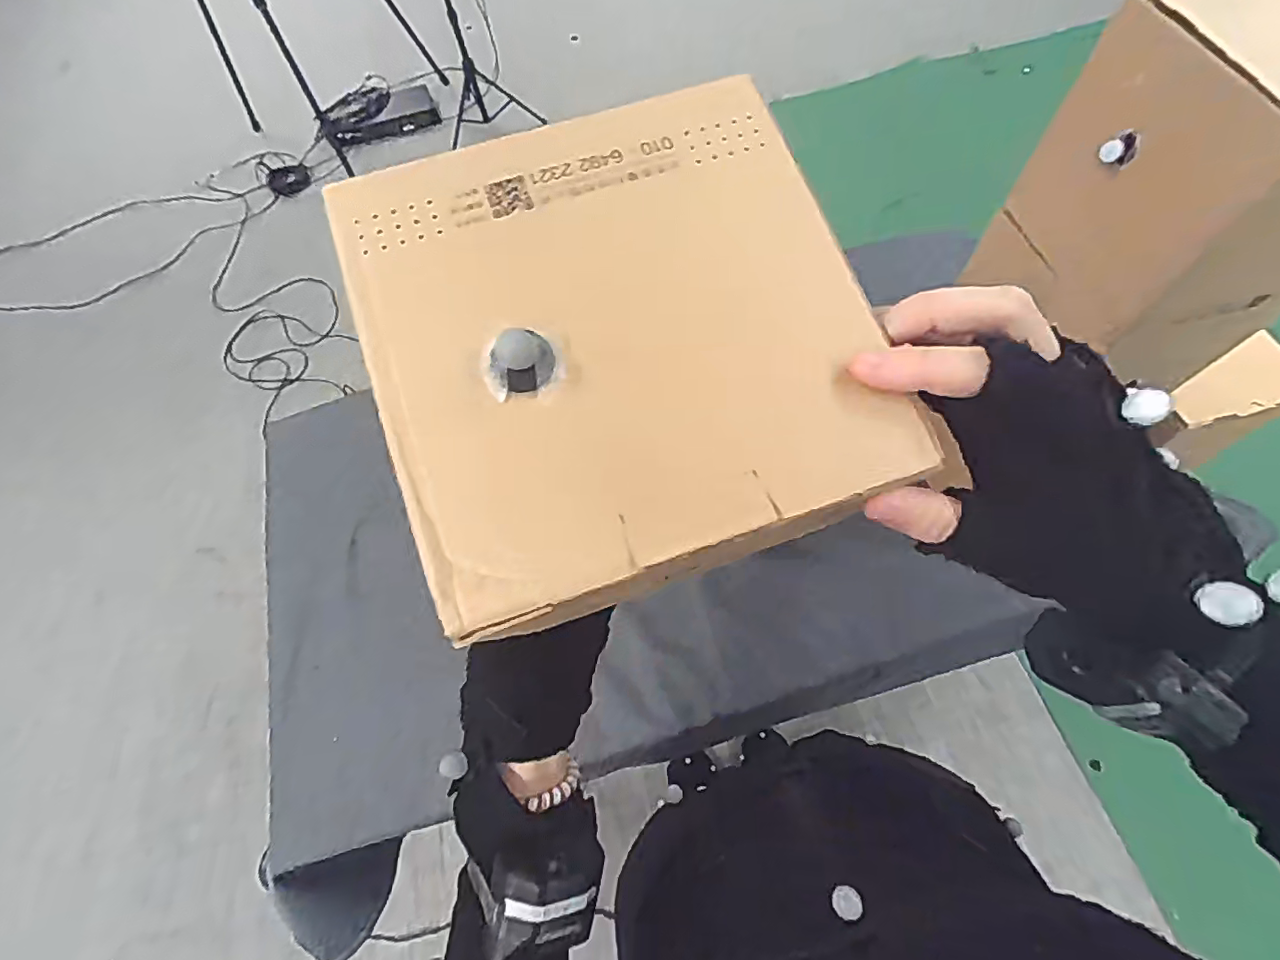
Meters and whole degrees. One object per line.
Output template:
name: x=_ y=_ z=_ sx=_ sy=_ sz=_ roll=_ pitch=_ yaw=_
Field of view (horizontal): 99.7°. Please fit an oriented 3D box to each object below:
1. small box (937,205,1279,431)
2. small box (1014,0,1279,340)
small box: x=0.444 y=-0.166 z=0.547 sx=0.168 sy=0.176 sz=0.179 roll=-14 pitch=64 yaw=-1
small box: x=0.429 y=-0.235 z=0.399 sx=0.168 sy=0.176 sz=0.179 roll=-12 pitch=63 yaw=0
